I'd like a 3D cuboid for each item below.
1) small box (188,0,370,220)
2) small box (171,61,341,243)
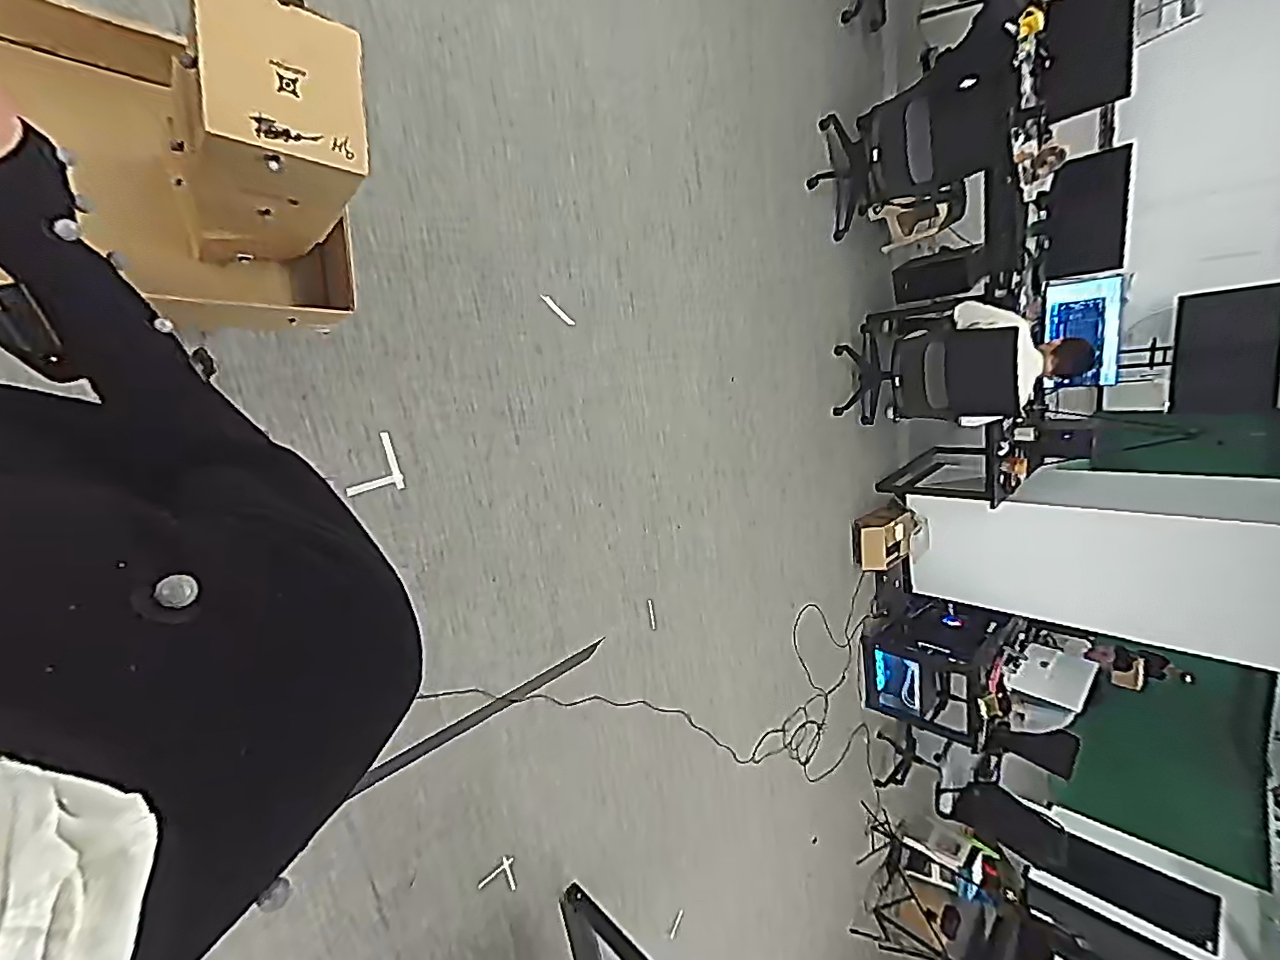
[{"bbox_3d":[-0.454,-0.460,0.680,0.168,0.176,0.179,-5,96,-41],"label":"small box"},{"bbox_3d":[-0.565,-0.464,0.802,0.179,0.176,0.168,-13,102,-40],"label":"small box"}]
